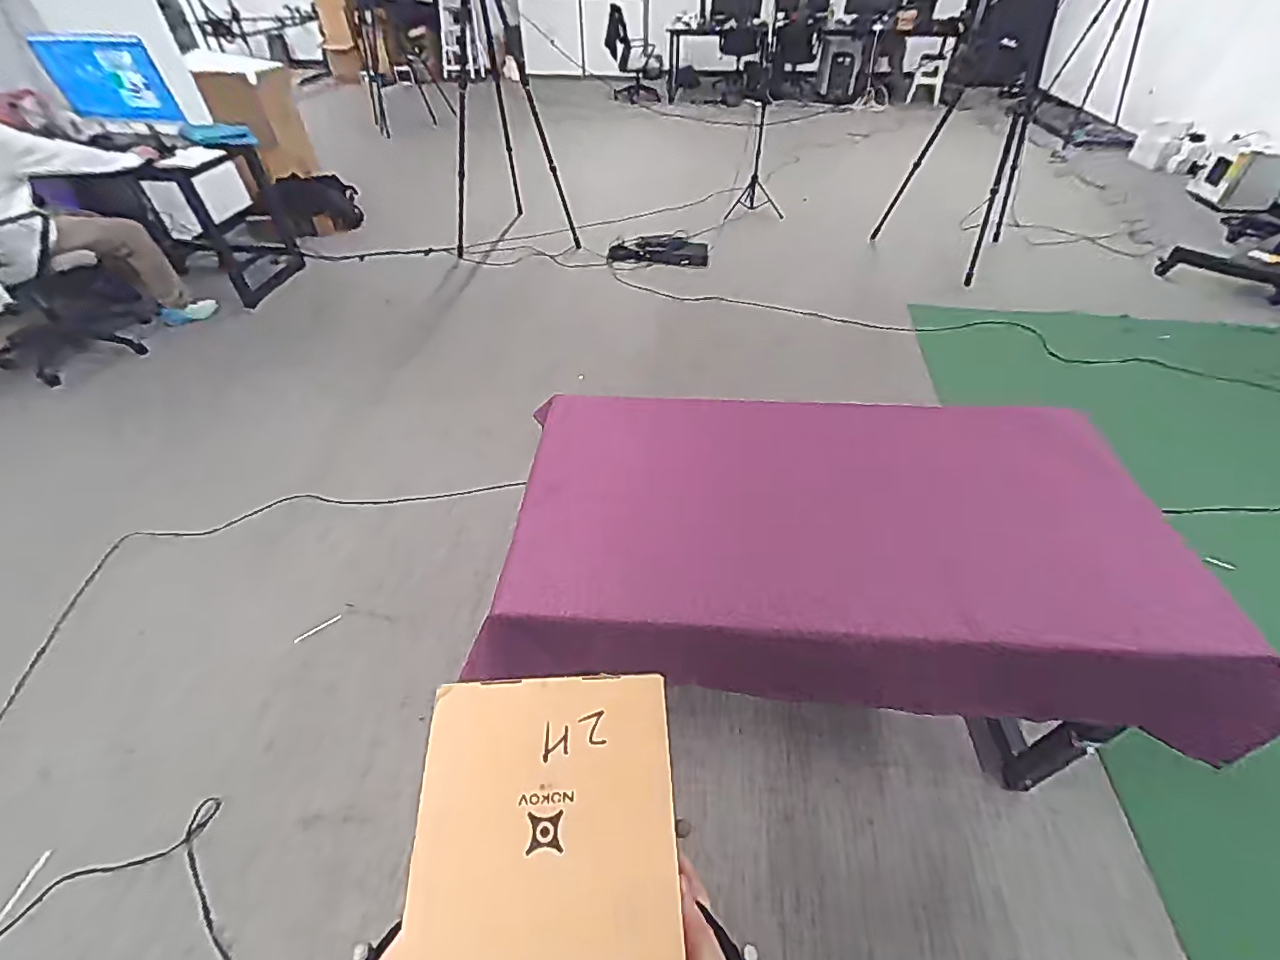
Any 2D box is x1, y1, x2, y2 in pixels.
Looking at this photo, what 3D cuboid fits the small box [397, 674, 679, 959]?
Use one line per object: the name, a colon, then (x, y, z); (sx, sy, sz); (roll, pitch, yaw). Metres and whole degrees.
small box: (-0.064, 0.262, 0.414); (0.168, 0.176, 0.179); (-1, 55, -4)
